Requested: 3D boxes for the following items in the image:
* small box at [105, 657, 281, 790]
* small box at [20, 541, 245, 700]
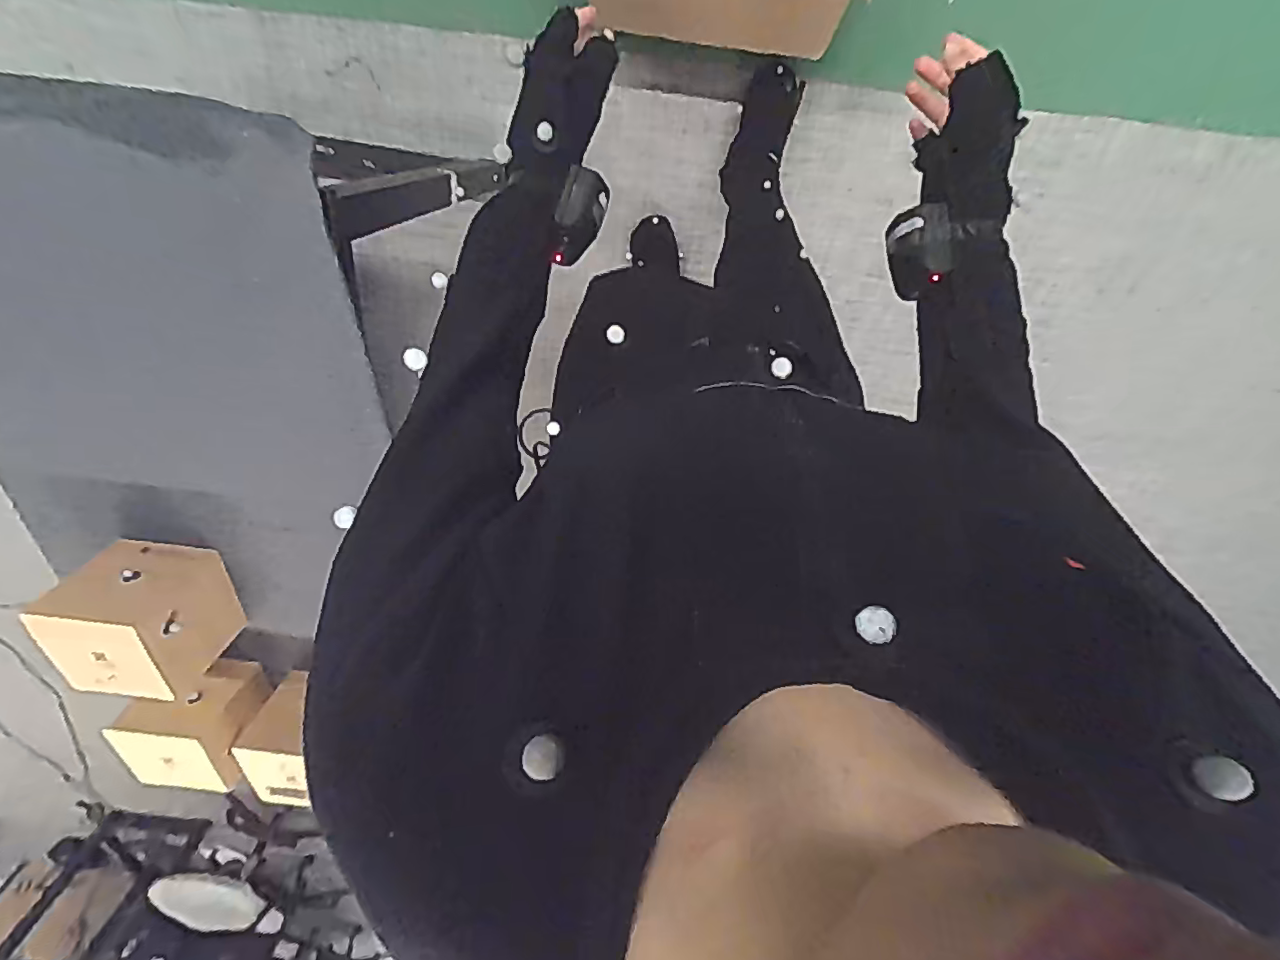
[{"bbox_3d":[-0.826,0.452,1.024,0.168,0.176,0.179,6,124,0],"label":"small box"},{"bbox_3d":[-0.785,0.218,0.863,0.168,0.176,0.179,7,124,0],"label":"small box"}]
